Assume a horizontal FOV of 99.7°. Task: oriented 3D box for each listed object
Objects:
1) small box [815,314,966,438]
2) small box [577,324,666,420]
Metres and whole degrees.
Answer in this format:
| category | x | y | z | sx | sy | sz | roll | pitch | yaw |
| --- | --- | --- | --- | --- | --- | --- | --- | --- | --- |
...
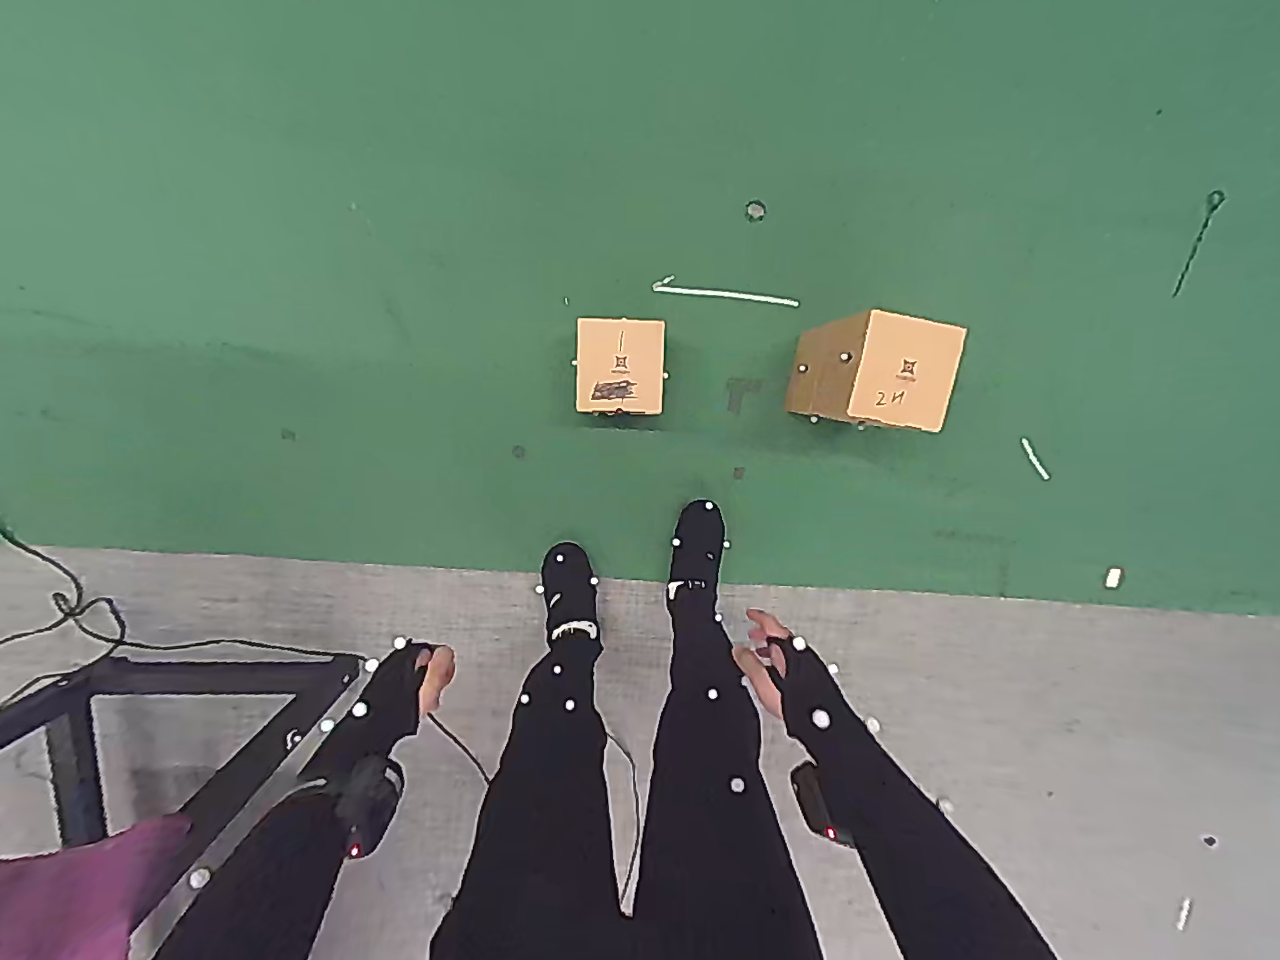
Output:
| category | x | y | z | sx | sy | sz | roll | pitch | yaw |
| --- | --- | --- | --- | --- | --- | --- | --- | --- | --- |
| small box | 0.432 | -0.181 | 0.964 | 0.168 | 0.176 | 0.179 | 10 | 98 | -4 |
| small box | -0.038 | -0.216 | 1.104 | 0.168 | 0.176 | 0.179 | 1 | 98 | -3 |
